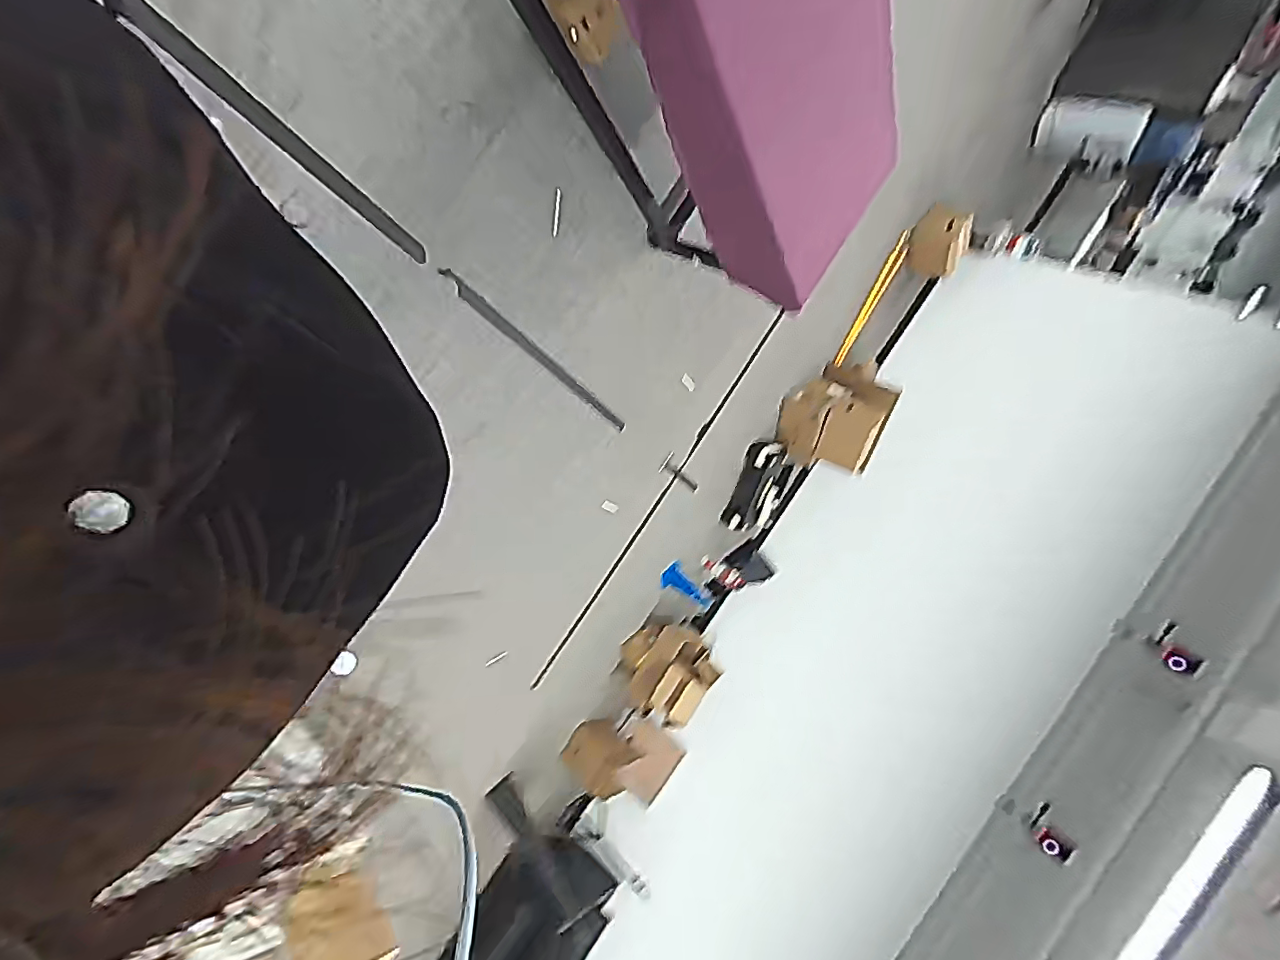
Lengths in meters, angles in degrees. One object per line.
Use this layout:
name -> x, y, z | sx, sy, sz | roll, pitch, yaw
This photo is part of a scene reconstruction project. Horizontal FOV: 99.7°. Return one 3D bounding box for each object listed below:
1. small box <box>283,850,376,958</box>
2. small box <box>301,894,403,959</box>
small box -> -0.963, 1.296, 1.668 | 0.179, 0.176, 0.168 | -55, 148, 1
small box -> -0.845, 1.373, 1.582 | 0.168, 0.176, 0.179 | -54, 148, 1
